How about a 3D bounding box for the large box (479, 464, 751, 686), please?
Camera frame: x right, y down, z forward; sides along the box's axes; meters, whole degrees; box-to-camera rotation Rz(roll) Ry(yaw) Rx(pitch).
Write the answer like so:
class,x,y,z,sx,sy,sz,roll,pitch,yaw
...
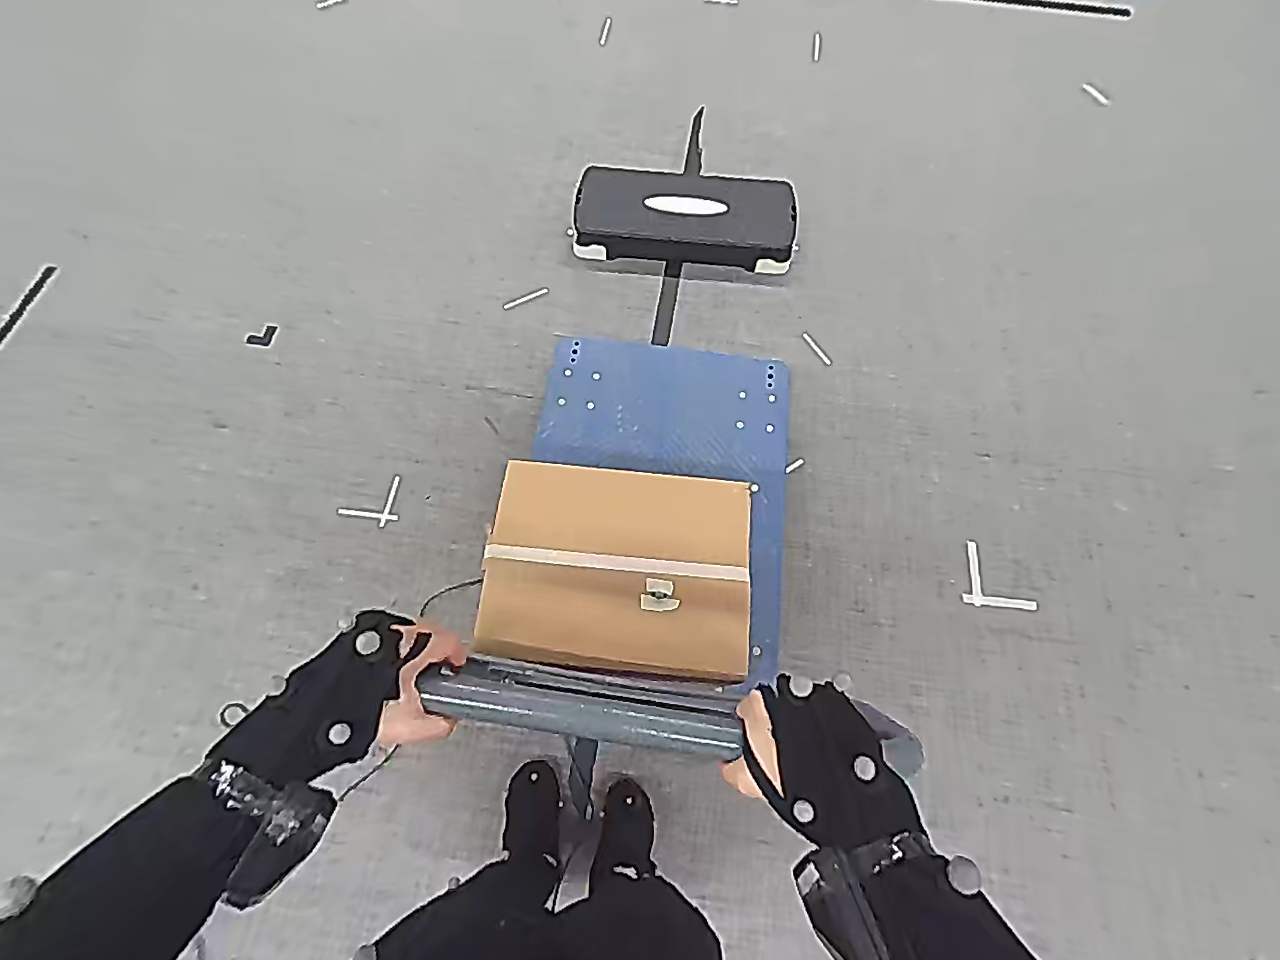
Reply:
class,x,y,z,sx,sy,sz,roll,pitch,yaw
large box,-0.033,0.188,0.977,0.408,0.320,0.320,6,68,0
